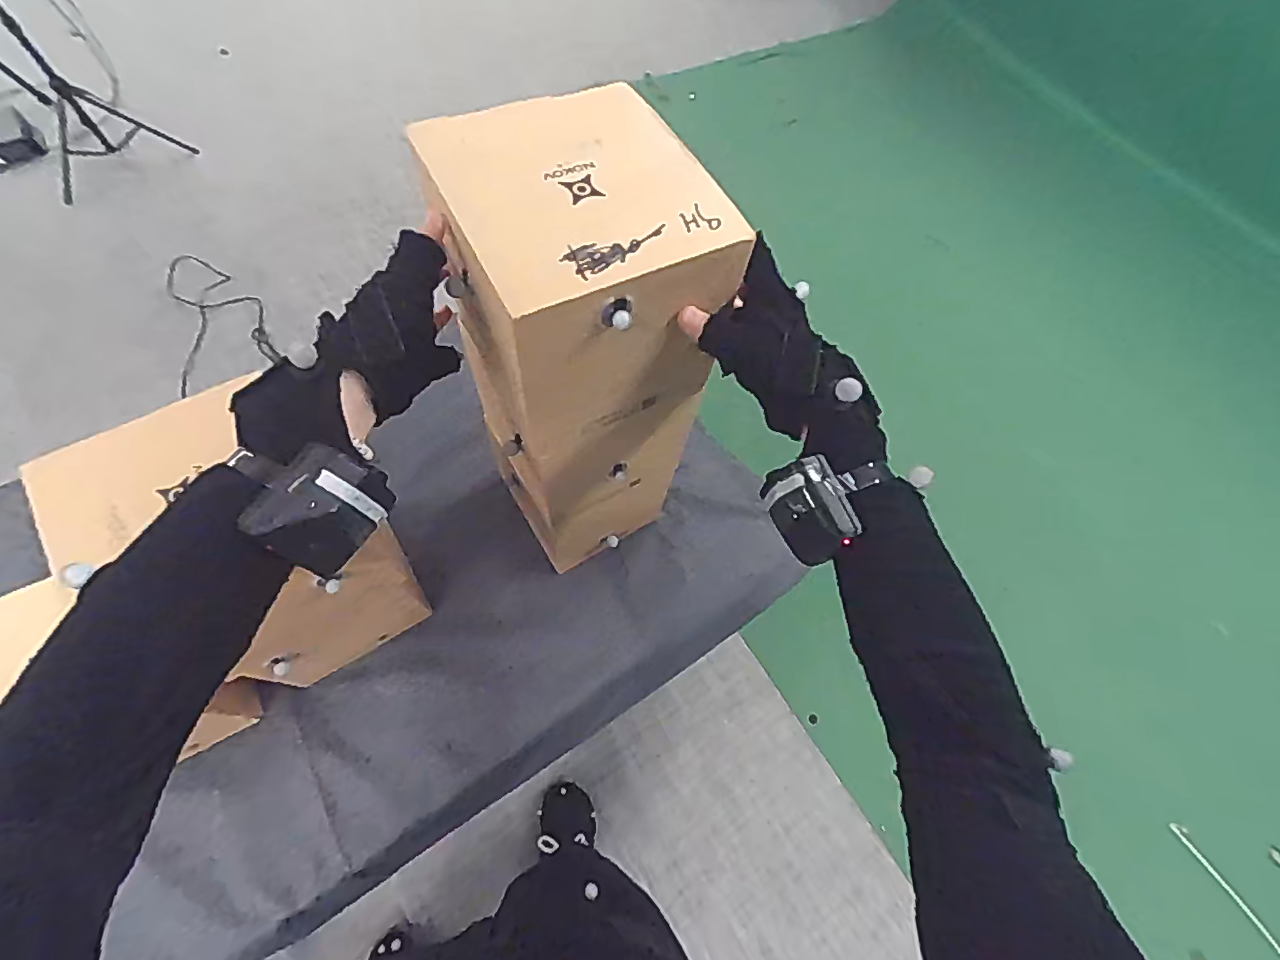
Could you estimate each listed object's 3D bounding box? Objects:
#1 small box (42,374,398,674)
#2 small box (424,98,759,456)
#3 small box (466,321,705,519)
[{"bbox_3d":[-0.338,0.045,0.477,0.179,0.176,0.168,-31,70,-19],"label":"small box"},{"bbox_3d":[-0.042,-0.150,0.421,0.168,0.176,0.179,-25,68,-17],"label":"small box"},{"bbox_3d":[-0.057,-0.078,0.569,0.168,0.176,0.179,-26,69,-17],"label":"small box"}]
